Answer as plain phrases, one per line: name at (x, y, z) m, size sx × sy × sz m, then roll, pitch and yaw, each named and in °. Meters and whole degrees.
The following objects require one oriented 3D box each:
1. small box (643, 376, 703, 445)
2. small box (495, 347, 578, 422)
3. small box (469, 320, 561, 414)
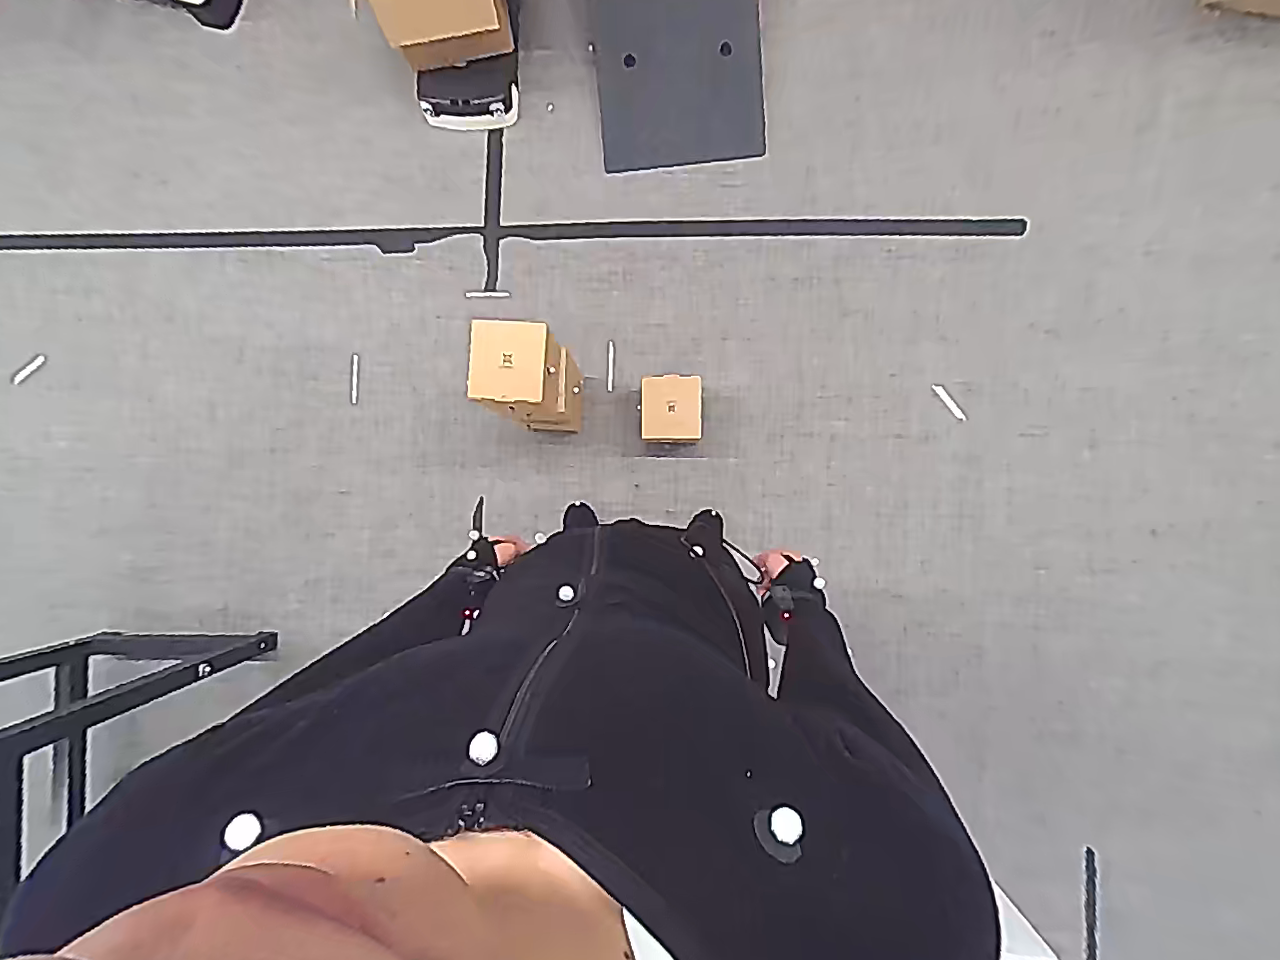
small box at (0.094, -0.194, 1.552) m, size 0.168 × 0.176 × 0.179 m, roll 0°, pitch 90°, yaw 4°
small box at (-0.264, -0.244, 1.402) m, size 0.179 × 0.176 × 0.168 m, roll 1°, pitch 89°, yaw 1°
small box at (-0.280, -0.253, 1.240) m, size 0.168 × 0.176 × 0.179 m, roll 3°, pitch 90°, yaw 2°
